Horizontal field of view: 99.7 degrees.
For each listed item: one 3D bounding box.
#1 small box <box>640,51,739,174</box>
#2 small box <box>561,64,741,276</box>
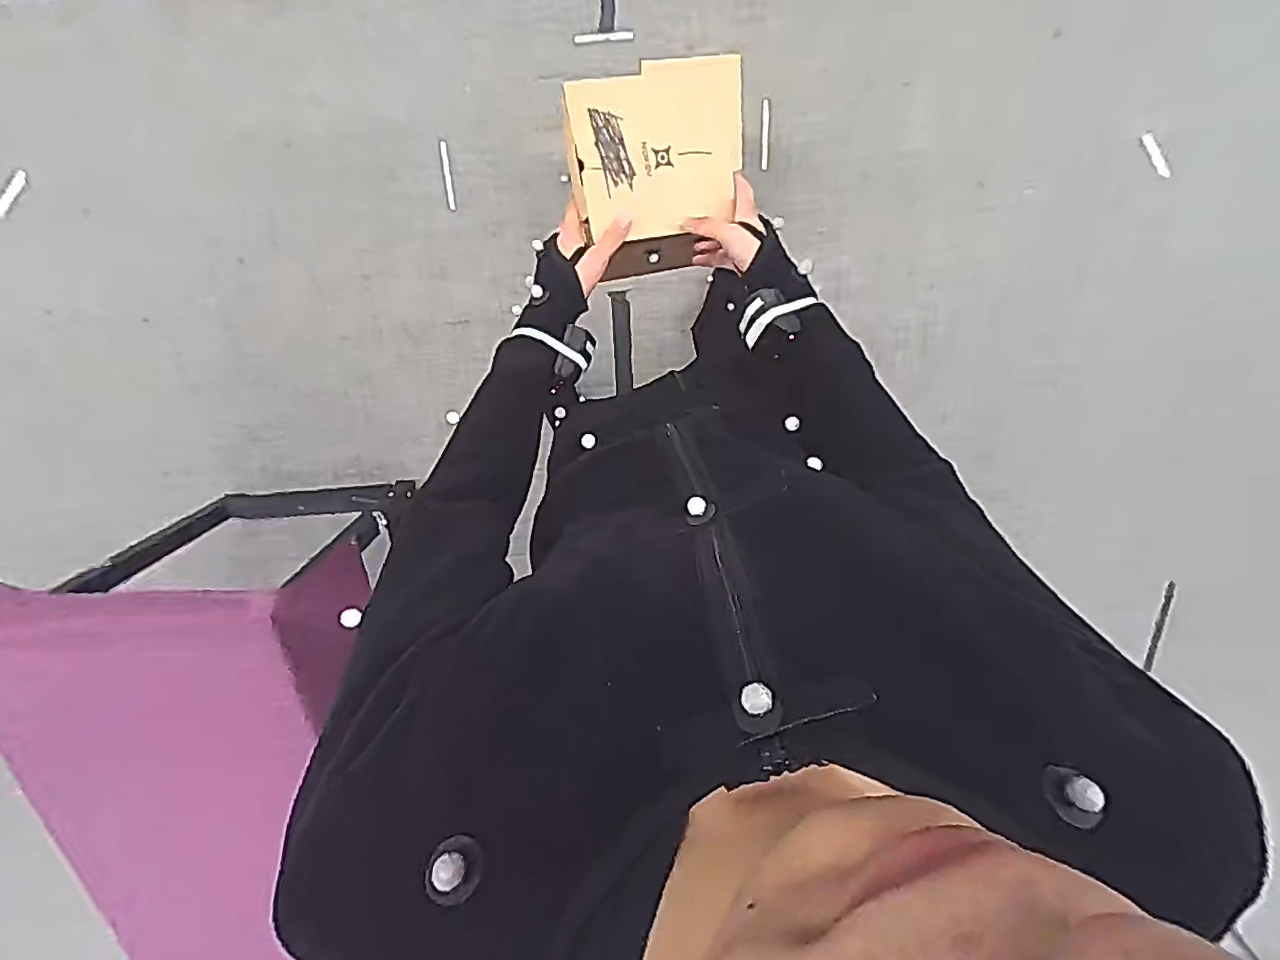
[{"bbox_3d":[0.080,-0.636,0.977,0.168,0.176,0.179,-5,111,-1],"label":"small box"},{"bbox_3d":[0.008,-0.364,0.669,0.179,0.176,0.168,-12,99,-4],"label":"small box"}]
